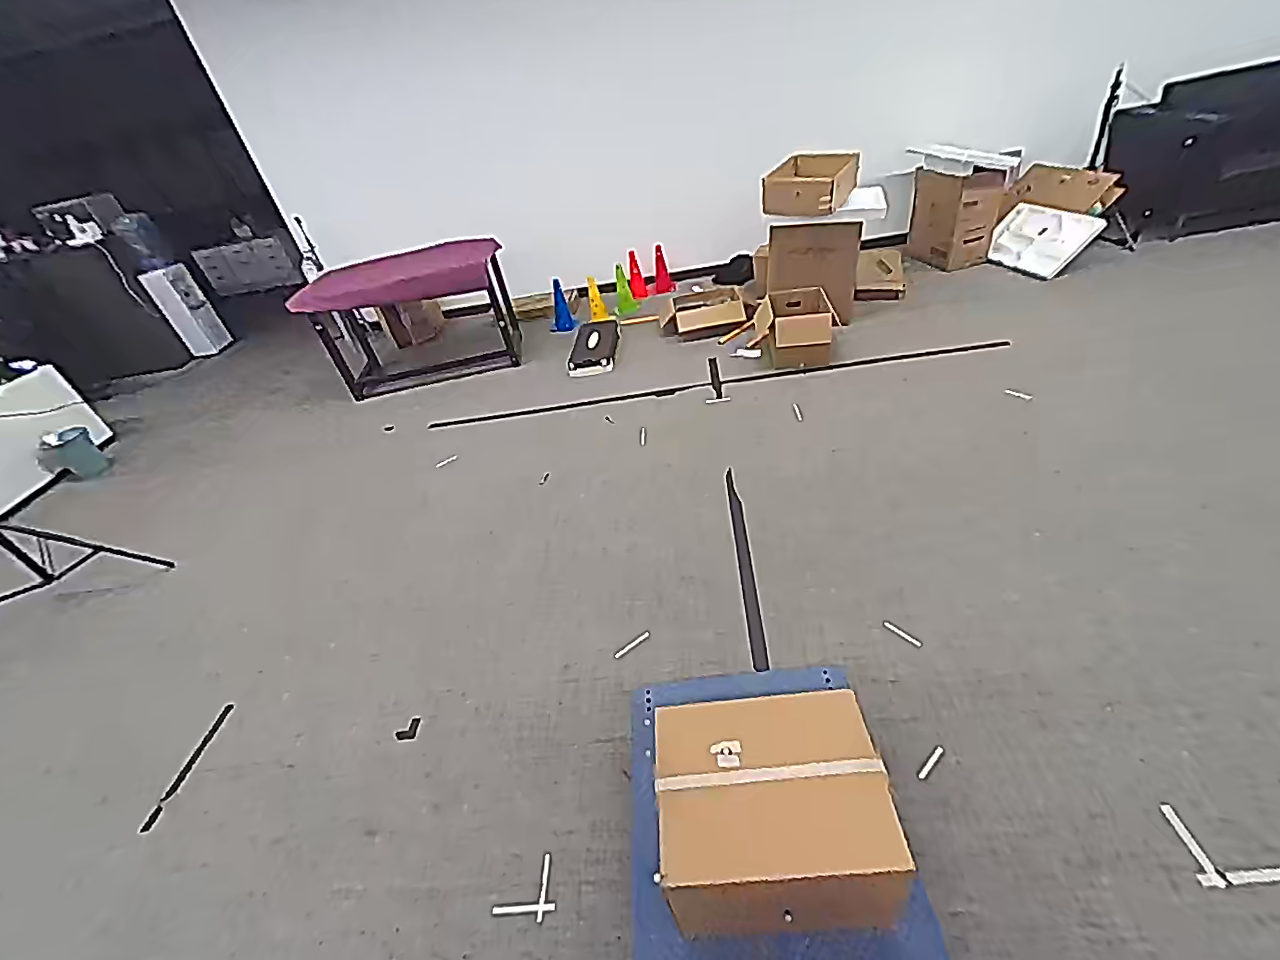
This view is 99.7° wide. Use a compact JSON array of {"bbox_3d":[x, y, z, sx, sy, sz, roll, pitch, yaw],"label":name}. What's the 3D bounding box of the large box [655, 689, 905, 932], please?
[{"bbox_3d":[0.258,0.667,1.092,0.408,0.320,0.320,-9,36,6],"label":"large box"}]
